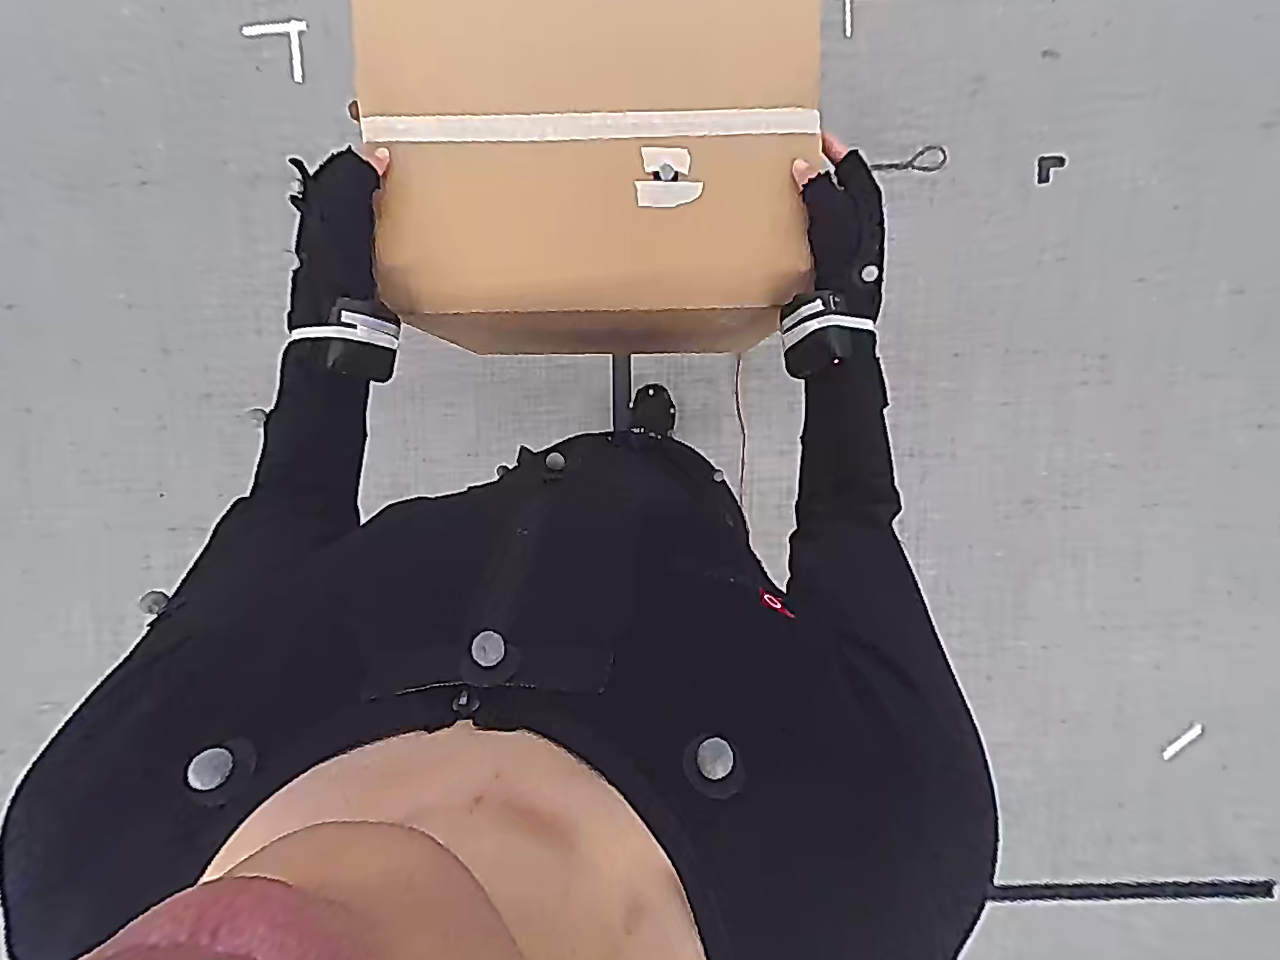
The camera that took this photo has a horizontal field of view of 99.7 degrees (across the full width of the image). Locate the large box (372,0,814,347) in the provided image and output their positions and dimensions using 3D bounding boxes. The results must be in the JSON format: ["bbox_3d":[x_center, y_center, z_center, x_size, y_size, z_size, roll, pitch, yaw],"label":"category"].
[{"bbox_3d":[-0.042,-0.342,0.644,0.408,0.320,0.320,-2,97,-1],"label":"large box"}]
